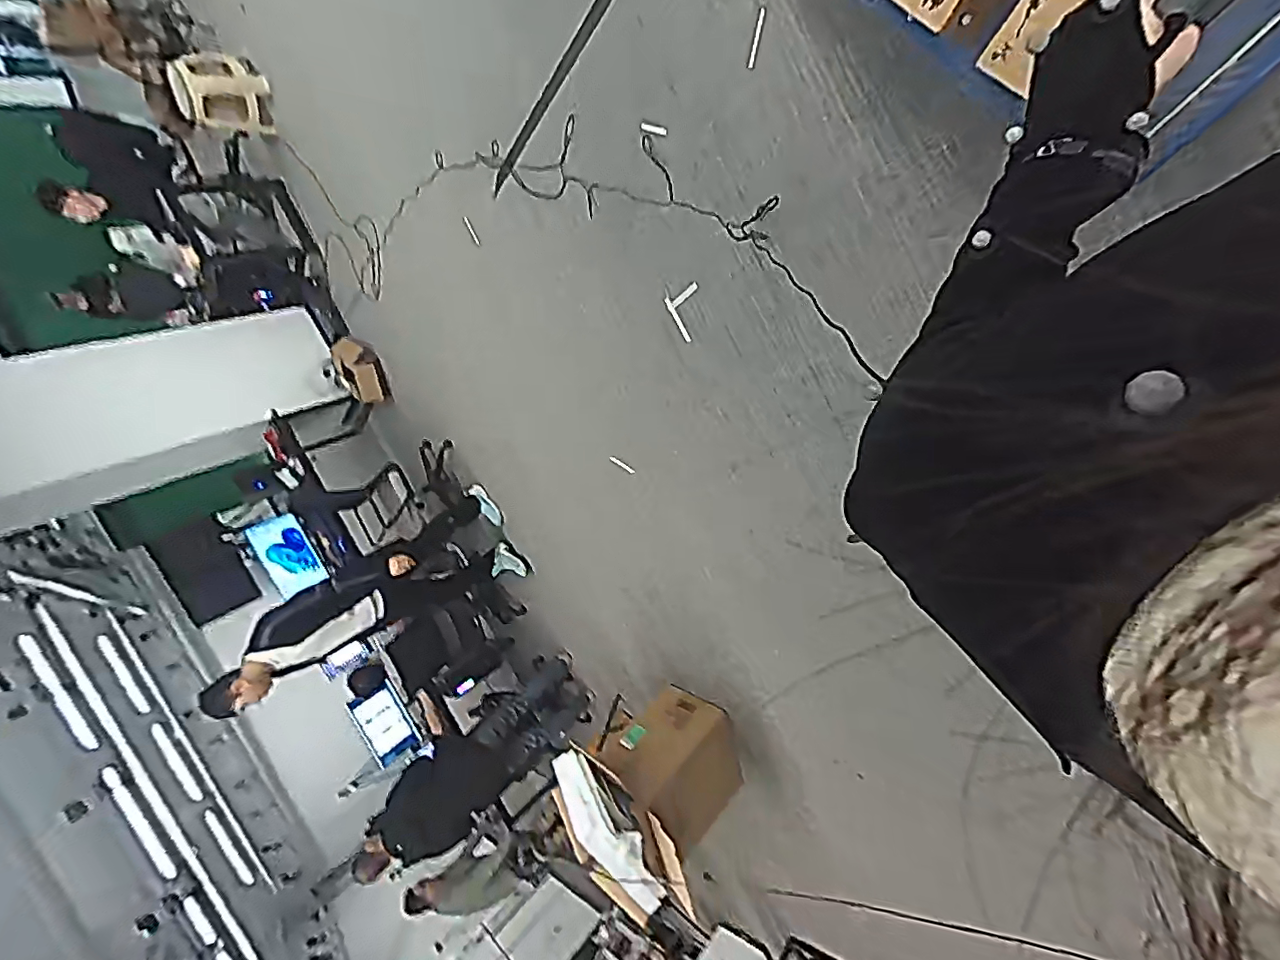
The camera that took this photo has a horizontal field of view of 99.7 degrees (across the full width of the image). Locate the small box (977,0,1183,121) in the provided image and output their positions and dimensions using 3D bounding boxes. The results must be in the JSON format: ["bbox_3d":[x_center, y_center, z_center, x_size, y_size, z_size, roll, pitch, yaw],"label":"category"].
[{"bbox_3d":[0.669,-0.682,0.823,0.179,0.176,0.168,48,140,14],"label":"small box"}]
